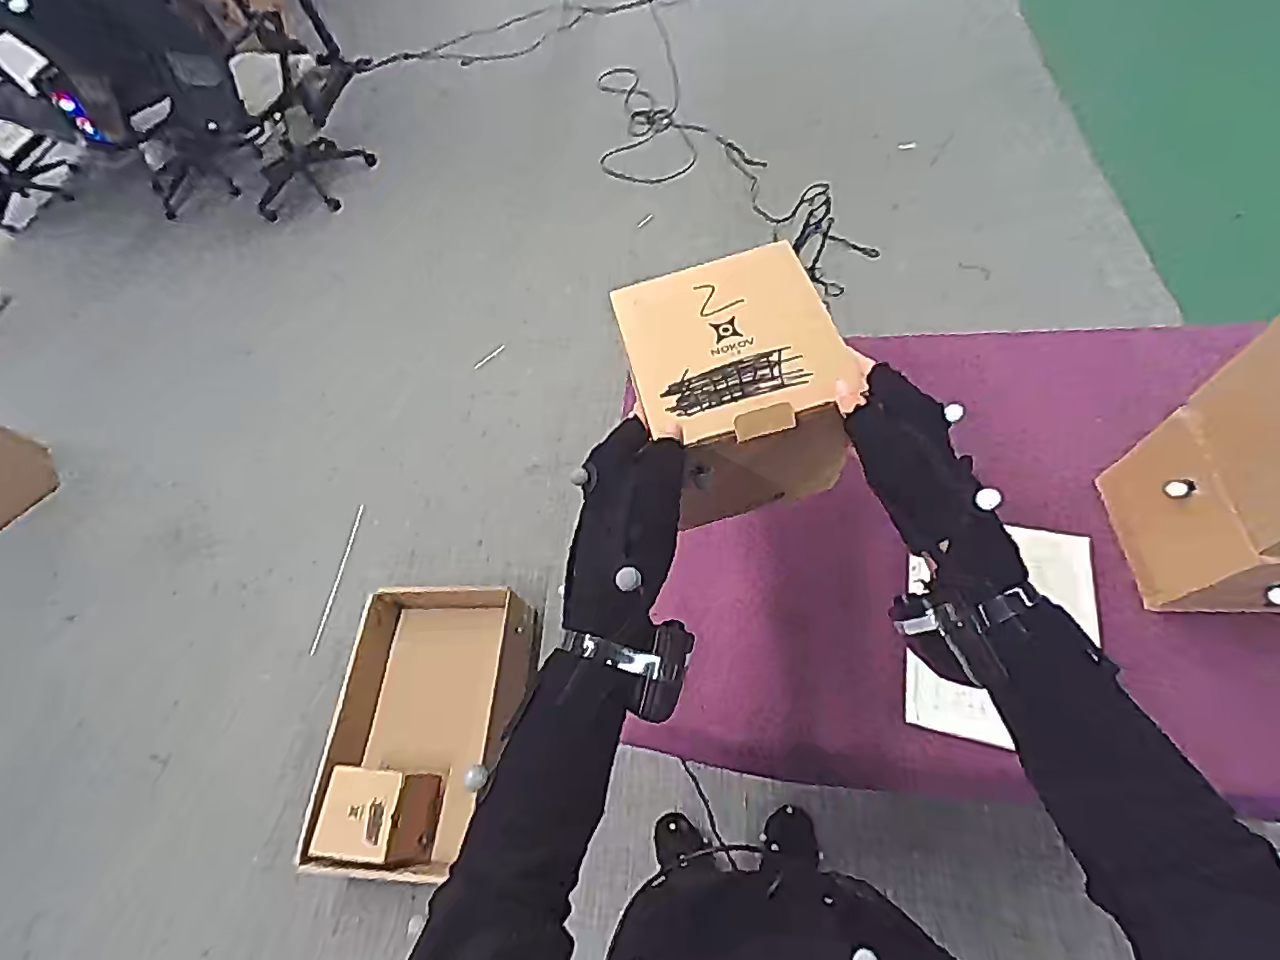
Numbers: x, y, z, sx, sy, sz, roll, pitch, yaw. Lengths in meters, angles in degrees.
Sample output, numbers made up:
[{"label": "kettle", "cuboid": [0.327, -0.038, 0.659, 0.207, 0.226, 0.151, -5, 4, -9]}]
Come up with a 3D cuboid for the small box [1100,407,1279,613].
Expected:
[{"label": "small box", "cuboid": [0.648, 0.037, 0.575, 0.168, 0.176, 0.179, -1, 61, 11]}]

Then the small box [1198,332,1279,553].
[{"label": "small box", "cuboid": [0.622, -0.047, 0.435, 0.168, 0.176, 0.179, 1, 61, 13]}]
